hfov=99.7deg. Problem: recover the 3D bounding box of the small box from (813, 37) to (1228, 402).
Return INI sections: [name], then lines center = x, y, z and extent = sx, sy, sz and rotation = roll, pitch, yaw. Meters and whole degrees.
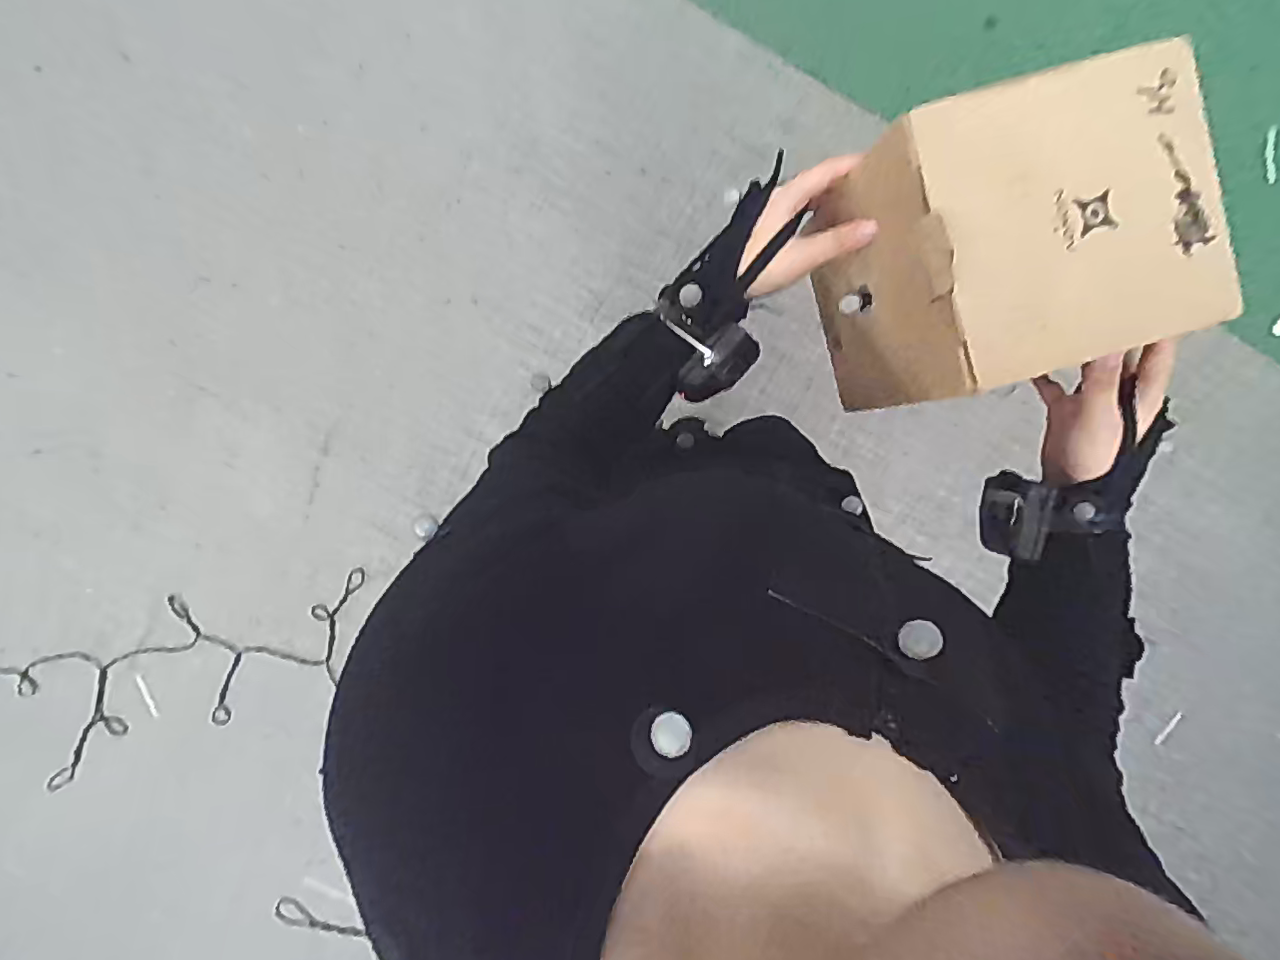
[small box]
center = 0.244, -0.161, 0.397
extent = 0.179, 0.176, 0.168
rotation = -16, 94, -2
